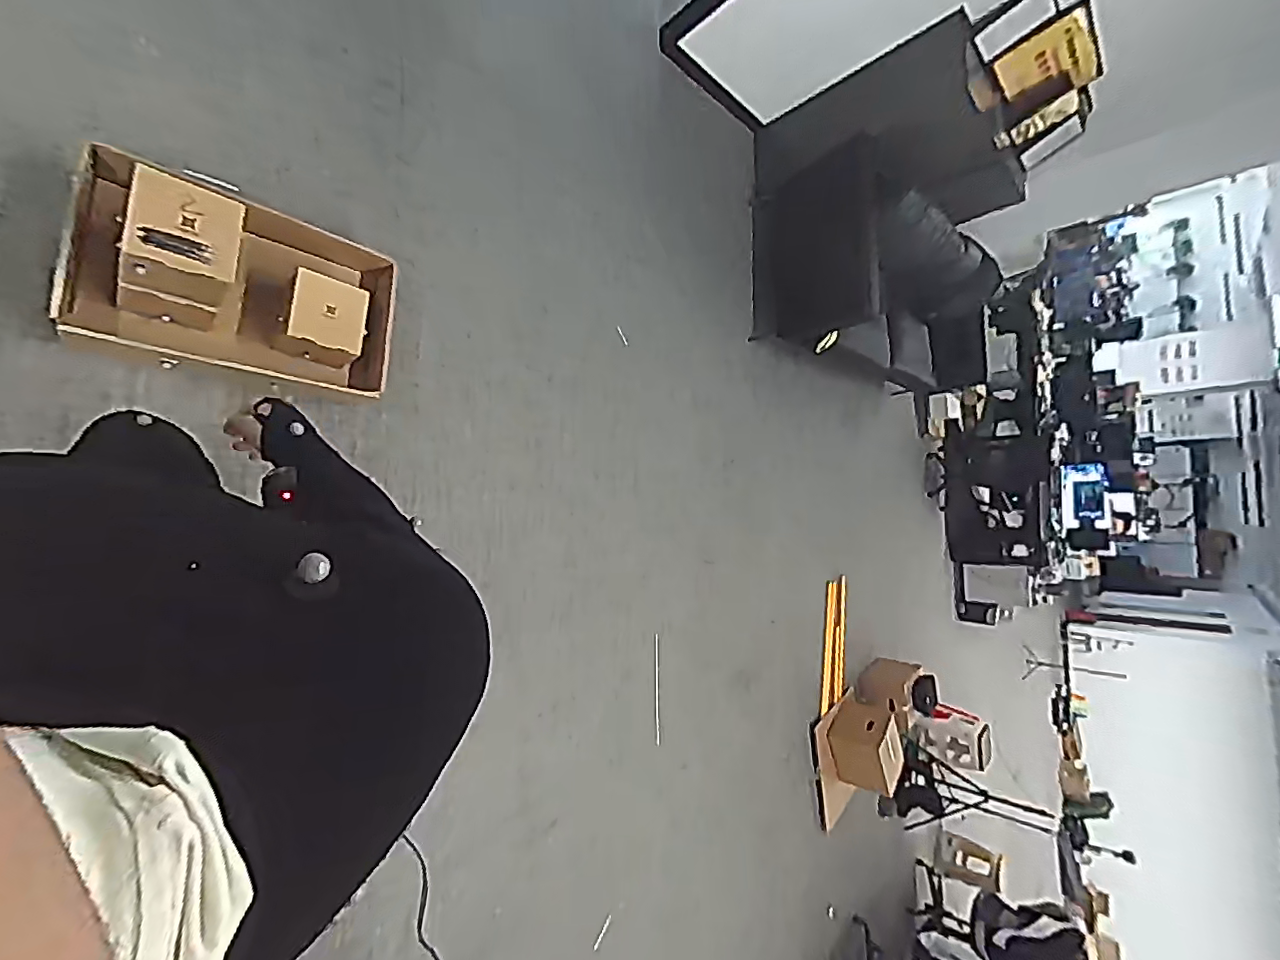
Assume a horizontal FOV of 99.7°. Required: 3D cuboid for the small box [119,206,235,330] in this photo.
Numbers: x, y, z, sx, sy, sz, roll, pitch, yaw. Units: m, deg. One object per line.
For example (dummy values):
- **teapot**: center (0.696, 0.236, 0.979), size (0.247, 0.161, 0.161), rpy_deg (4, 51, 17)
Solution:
- **small box**: center (-1.025, -0.457, 1.195), size (0.168, 0.176, 0.179), rpy_deg (11, 78, -44)
